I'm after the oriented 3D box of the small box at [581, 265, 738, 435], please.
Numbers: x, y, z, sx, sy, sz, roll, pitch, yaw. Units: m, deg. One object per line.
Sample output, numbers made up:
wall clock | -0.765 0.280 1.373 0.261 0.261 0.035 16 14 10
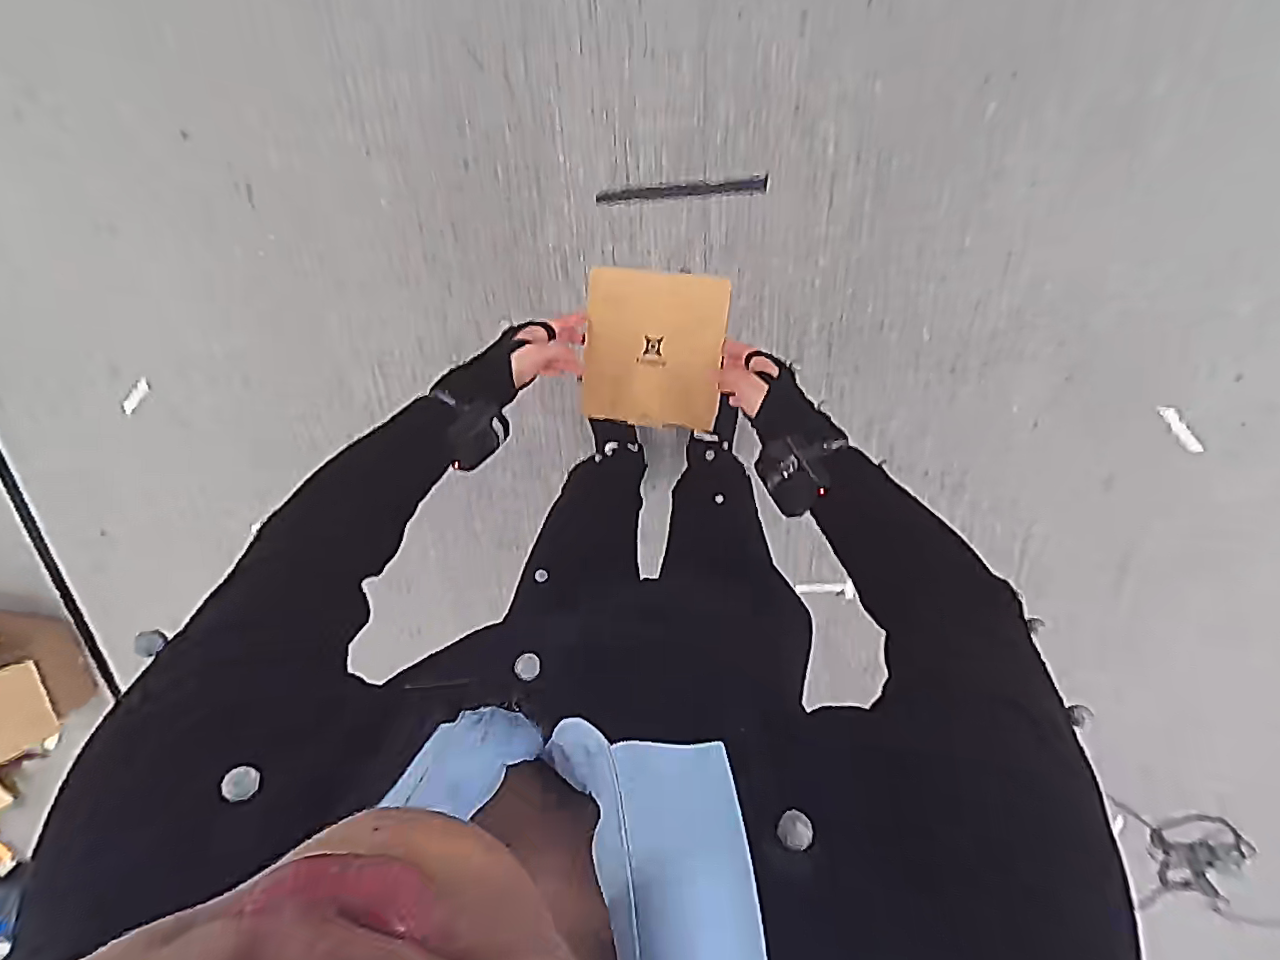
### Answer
small box | 0.030 -0.166 0.690 0.168 0.176 0.179 8 106 8
